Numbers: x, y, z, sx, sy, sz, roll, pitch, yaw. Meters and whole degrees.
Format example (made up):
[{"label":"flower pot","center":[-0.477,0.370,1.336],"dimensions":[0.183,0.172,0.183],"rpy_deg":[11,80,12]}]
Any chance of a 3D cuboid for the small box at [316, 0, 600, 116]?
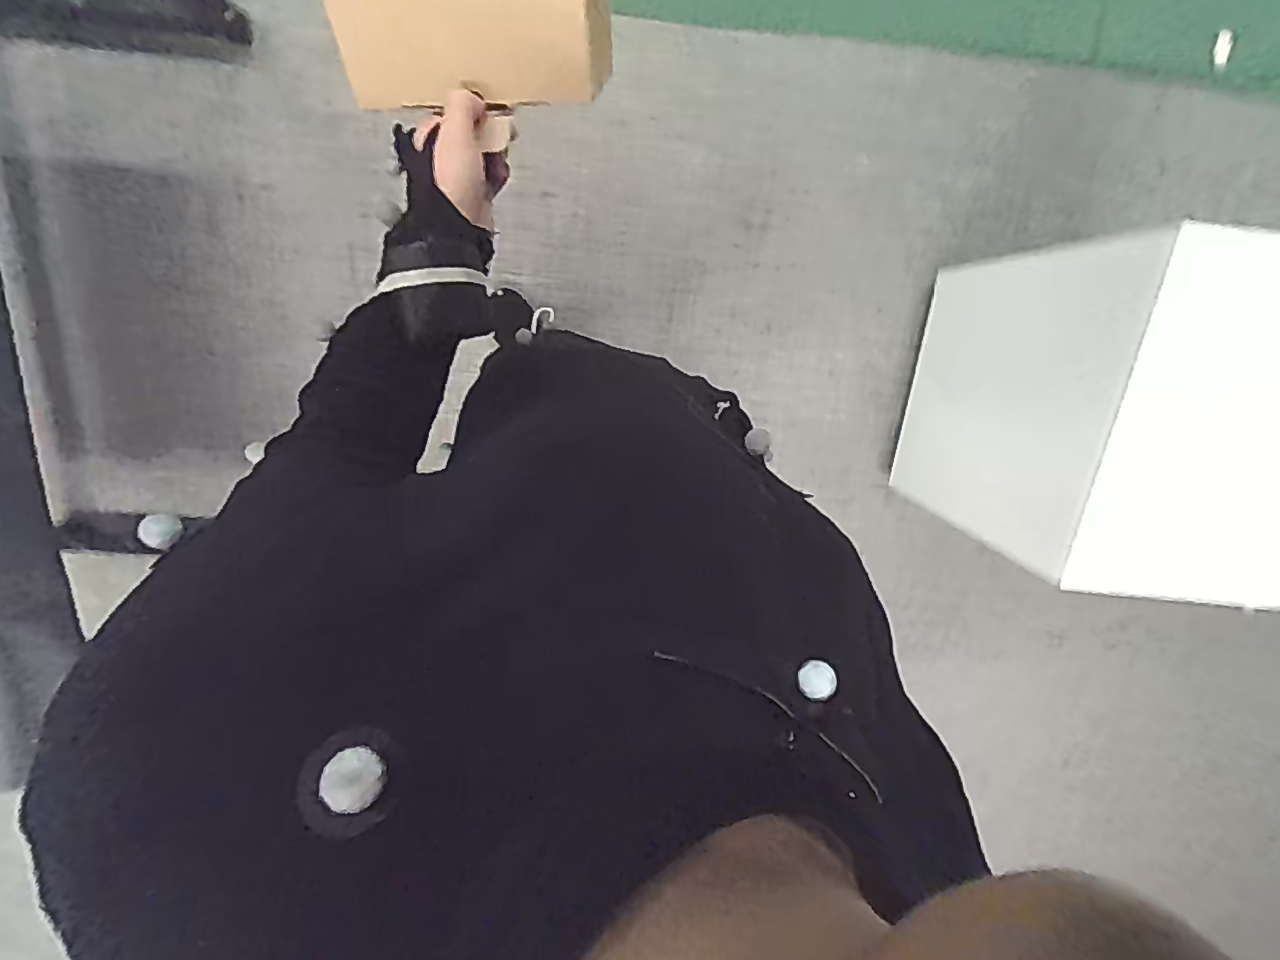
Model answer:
[{"label":"small box","center":[-0.119,-0.370,0.373],"dimensions":[0.168,0.176,0.179],"rpy_deg":[-1,133,2]}]
